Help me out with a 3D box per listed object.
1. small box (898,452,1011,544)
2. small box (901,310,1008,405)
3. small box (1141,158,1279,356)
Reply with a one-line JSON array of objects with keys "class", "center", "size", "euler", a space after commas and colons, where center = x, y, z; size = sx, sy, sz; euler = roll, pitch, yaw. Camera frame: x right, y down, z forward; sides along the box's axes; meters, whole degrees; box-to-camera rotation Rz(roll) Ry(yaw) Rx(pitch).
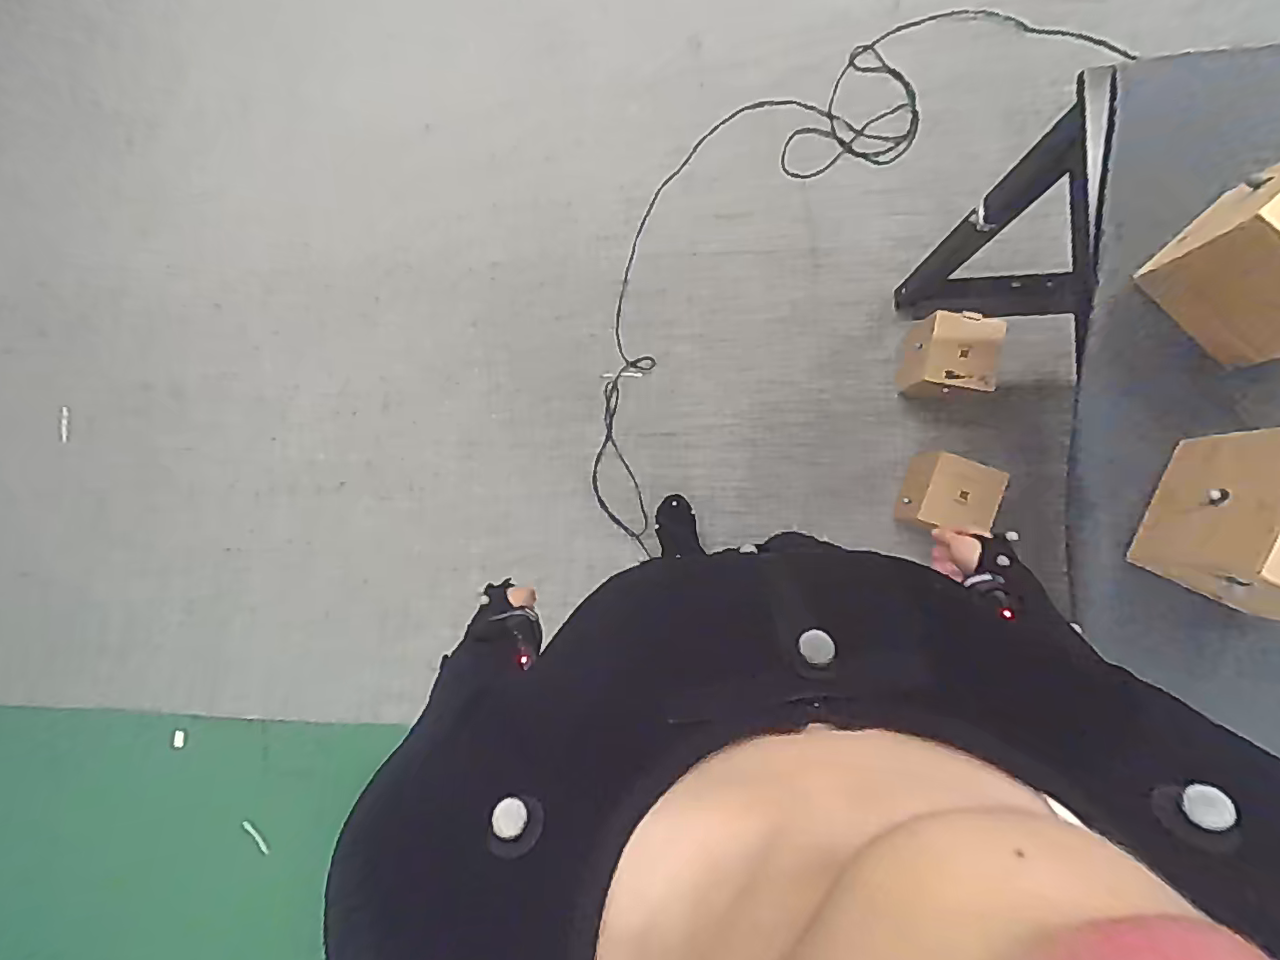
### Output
[{"class": "small box", "center": [0.767, 0.045, 1.341], "size": [0.168, 0.176, 0.179], "euler": [20, 88, 5]}, {"class": "small box", "center": [0.779, -0.302, 1.357], "size": [0.168, 0.176, 0.179], "euler": [12, 88, 6]}, {"class": "small box", "center": [0.760, -0.271, 0.626], "size": [0.168, 0.176, 0.179], "euler": [-43, 85, 2]}]
